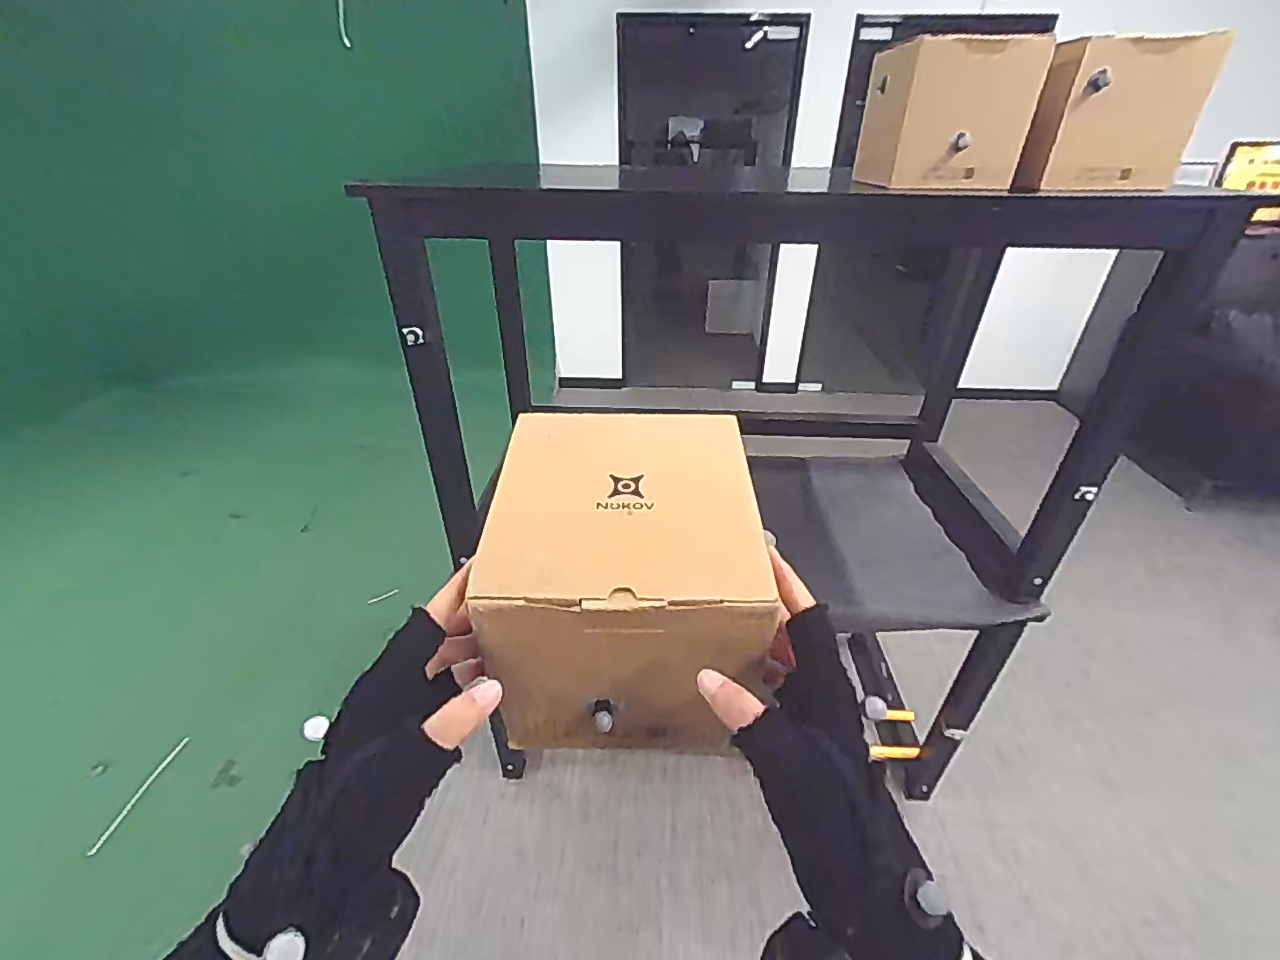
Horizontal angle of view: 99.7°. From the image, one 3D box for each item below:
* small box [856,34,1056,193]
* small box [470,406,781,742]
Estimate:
[{"bbox_3d":[0.426,-0.513,0.771,0.168,0.176,0.179,1,32,2],"label":"small box"},{"bbox_3d":[-0.009,0.064,0.394,0.168,0.176,0.179,1,40,-1],"label":"small box"}]
